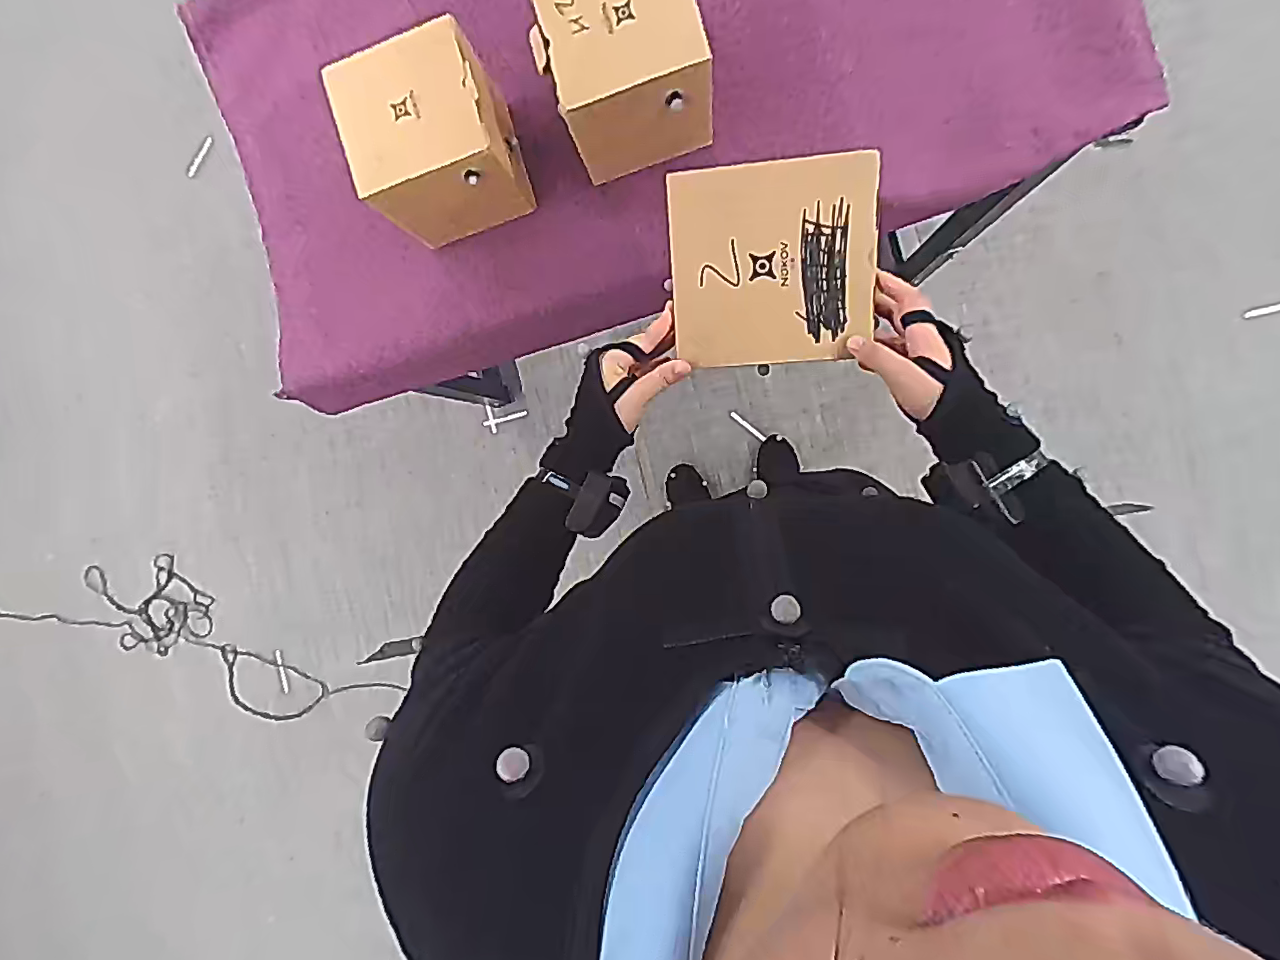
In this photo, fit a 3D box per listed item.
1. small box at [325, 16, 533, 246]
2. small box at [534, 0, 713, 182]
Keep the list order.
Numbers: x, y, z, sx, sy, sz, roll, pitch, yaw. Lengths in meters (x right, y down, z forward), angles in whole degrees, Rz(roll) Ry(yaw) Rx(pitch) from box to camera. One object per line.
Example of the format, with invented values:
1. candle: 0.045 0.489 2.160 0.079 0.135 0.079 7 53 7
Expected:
1. small box: -0.266 -0.440 0.718 0.179 0.176 0.168 -17 90 7
2. small box: -0.013 -0.515 0.678 0.179 0.176 0.168 -16 90 9
